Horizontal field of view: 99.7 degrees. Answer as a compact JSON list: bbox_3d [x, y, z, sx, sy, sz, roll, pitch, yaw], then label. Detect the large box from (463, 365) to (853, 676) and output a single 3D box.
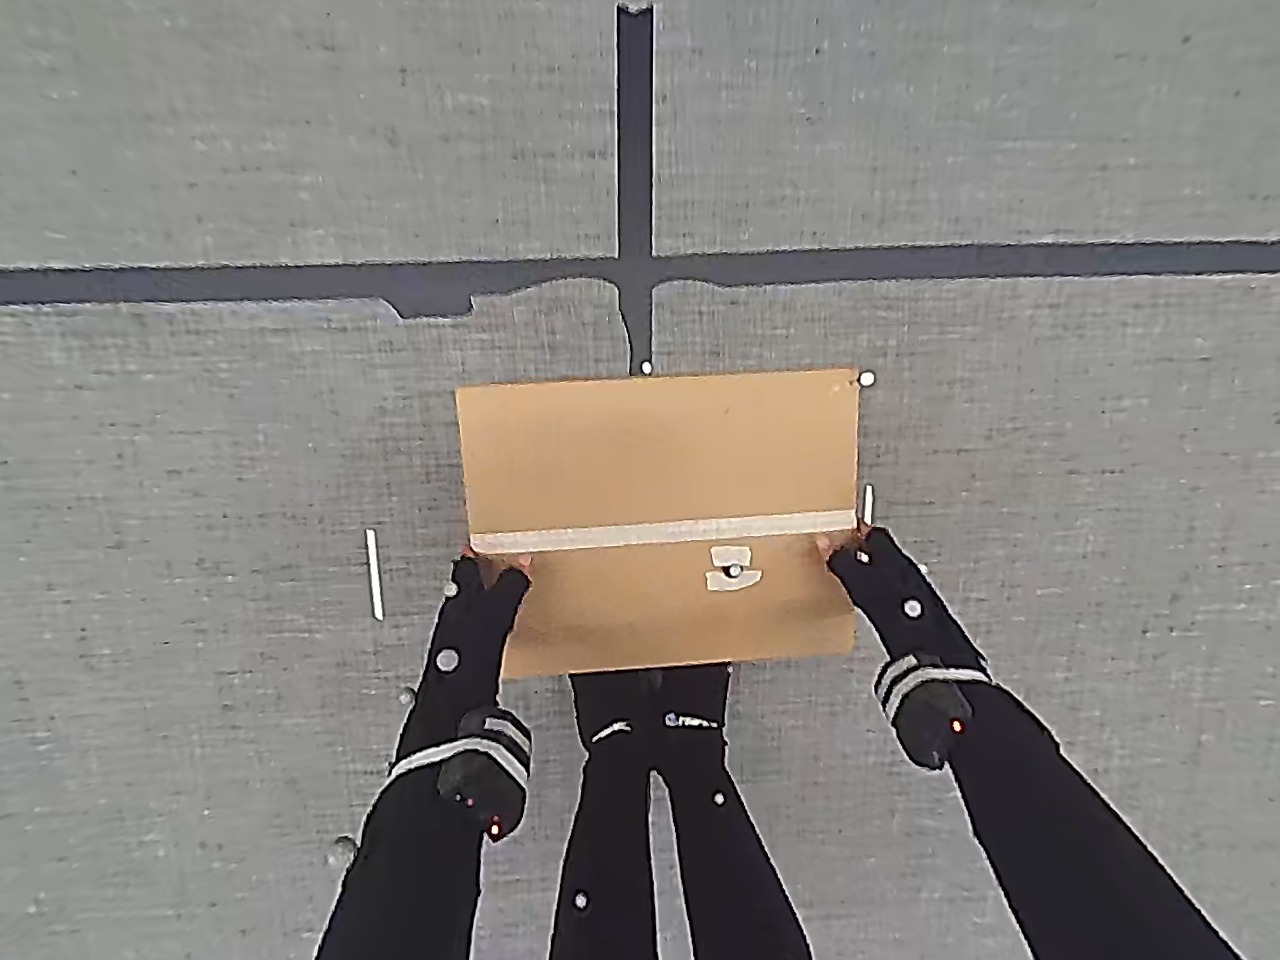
[{"bbox_3d":[0.018,0.022,0.716,0.408,0.320,0.320,-4,101,-4],"label":"large box"}]
